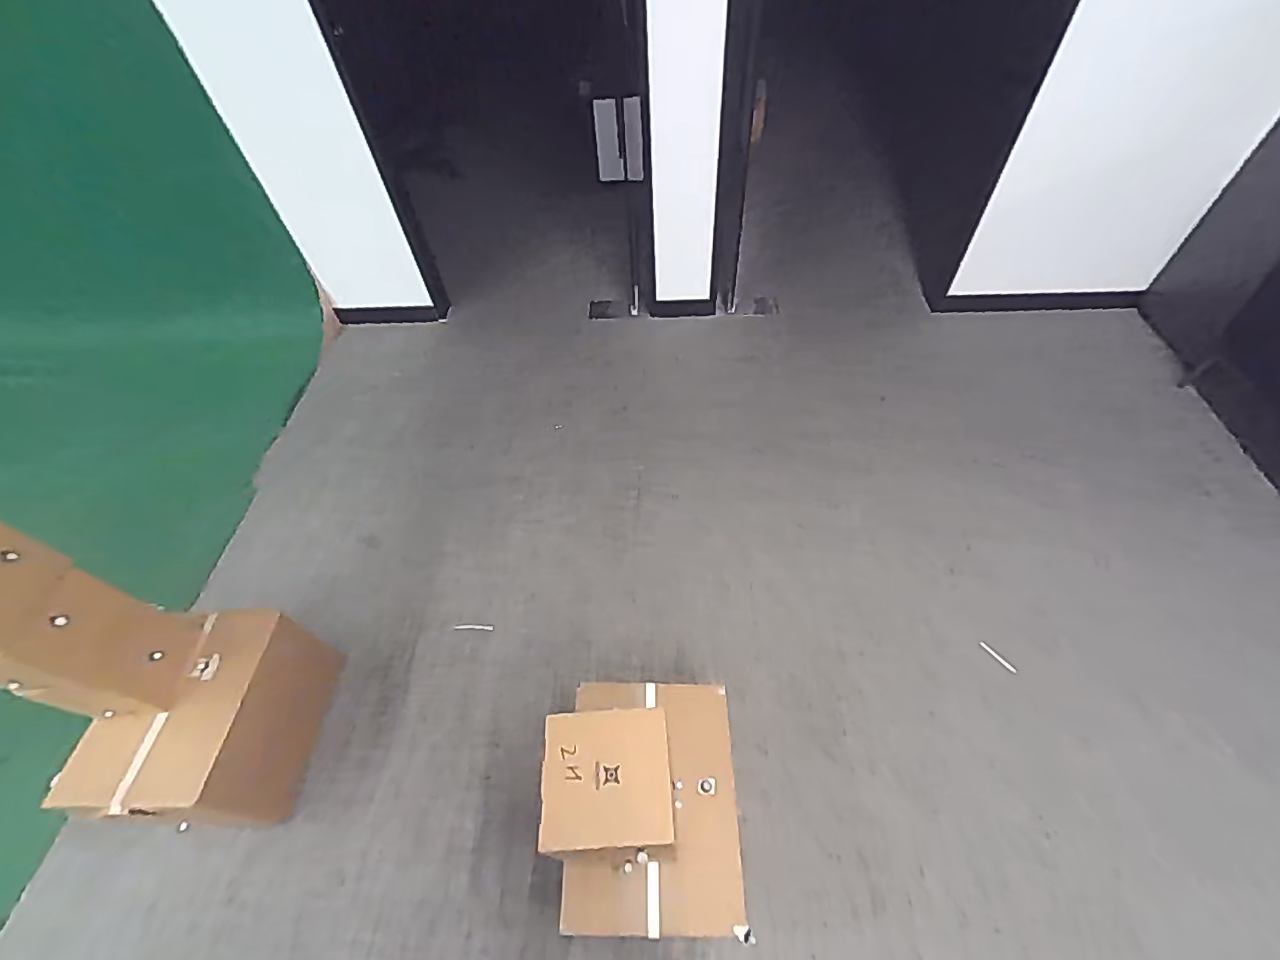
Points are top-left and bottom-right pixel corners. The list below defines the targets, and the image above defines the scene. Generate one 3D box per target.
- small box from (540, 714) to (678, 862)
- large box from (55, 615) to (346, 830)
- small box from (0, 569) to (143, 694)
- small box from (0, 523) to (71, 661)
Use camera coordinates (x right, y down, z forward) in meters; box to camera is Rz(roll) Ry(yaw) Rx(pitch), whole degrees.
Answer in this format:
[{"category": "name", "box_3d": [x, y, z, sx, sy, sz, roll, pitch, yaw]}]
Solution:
[{"category": "small box", "box_3d": [-0.037, 0.452, 0.789, 0.179, 0.176, 0.168, -5, 52, 3]}, {"category": "large box", "box_3d": [-0.977, 0.573, 1.275, 0.320, 0.320, 0.408, -2, 51, 4]}, {"category": "small box", "box_3d": [-1.086, 0.281, 0.995, 0.168, 0.176, 0.179, -3, 53, 6]}, {"category": "small box", "box_3d": [-1.099, 0.176, 0.870, 0.168, 0.176, 0.179, -2, 53, 7]}]
